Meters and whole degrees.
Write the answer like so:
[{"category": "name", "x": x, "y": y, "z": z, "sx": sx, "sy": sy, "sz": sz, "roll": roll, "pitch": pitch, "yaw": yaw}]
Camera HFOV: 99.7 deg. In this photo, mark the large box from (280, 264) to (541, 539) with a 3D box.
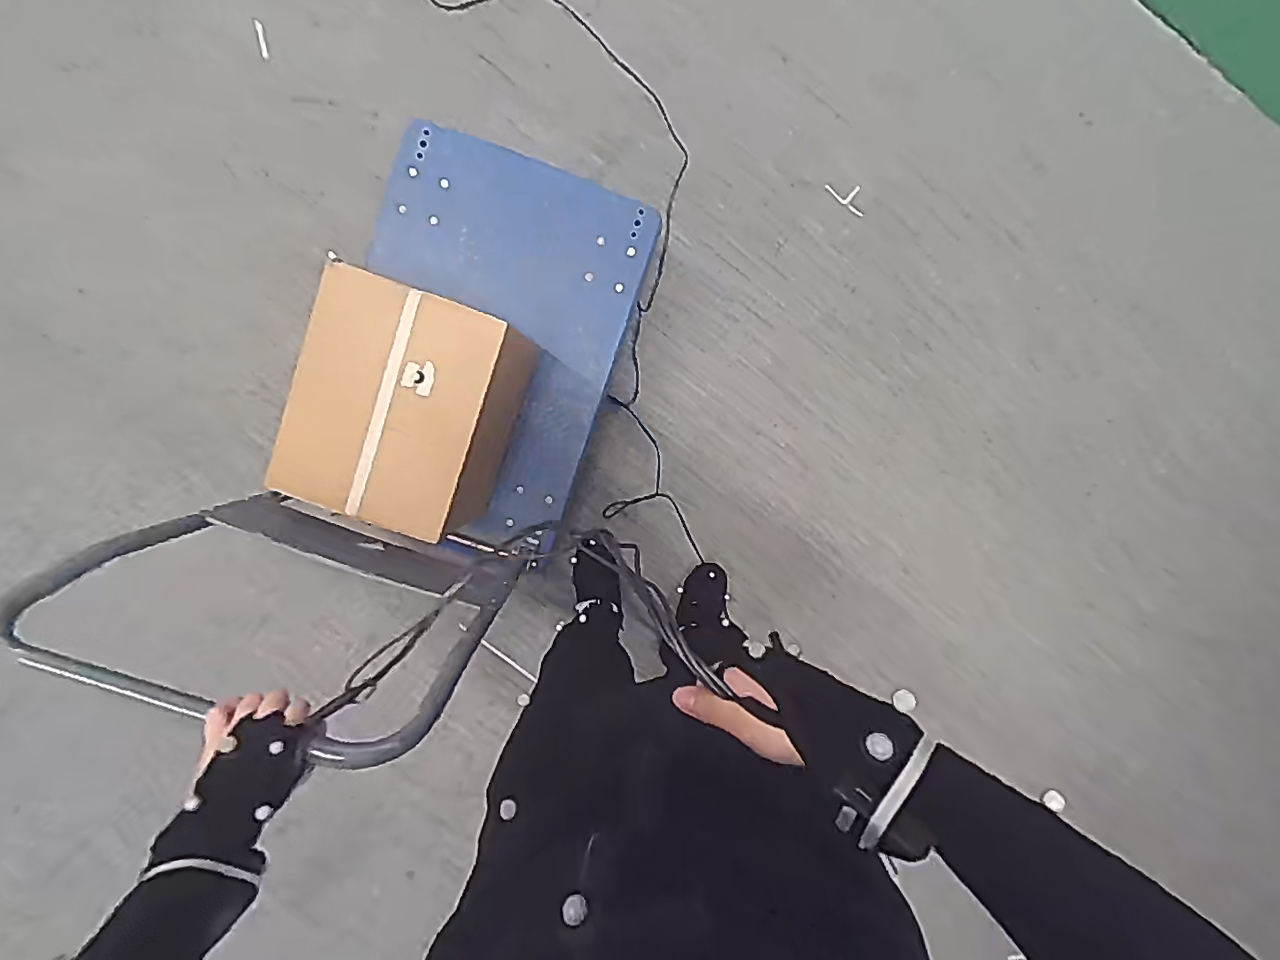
[{"category": "large box", "x": -0.421, "y": -0.140, "z": 1.068, "sx": 0.320, "sy": 0.320, "sz": 0.408, "roll": 19, "pitch": 95, "yaw": -3}]
